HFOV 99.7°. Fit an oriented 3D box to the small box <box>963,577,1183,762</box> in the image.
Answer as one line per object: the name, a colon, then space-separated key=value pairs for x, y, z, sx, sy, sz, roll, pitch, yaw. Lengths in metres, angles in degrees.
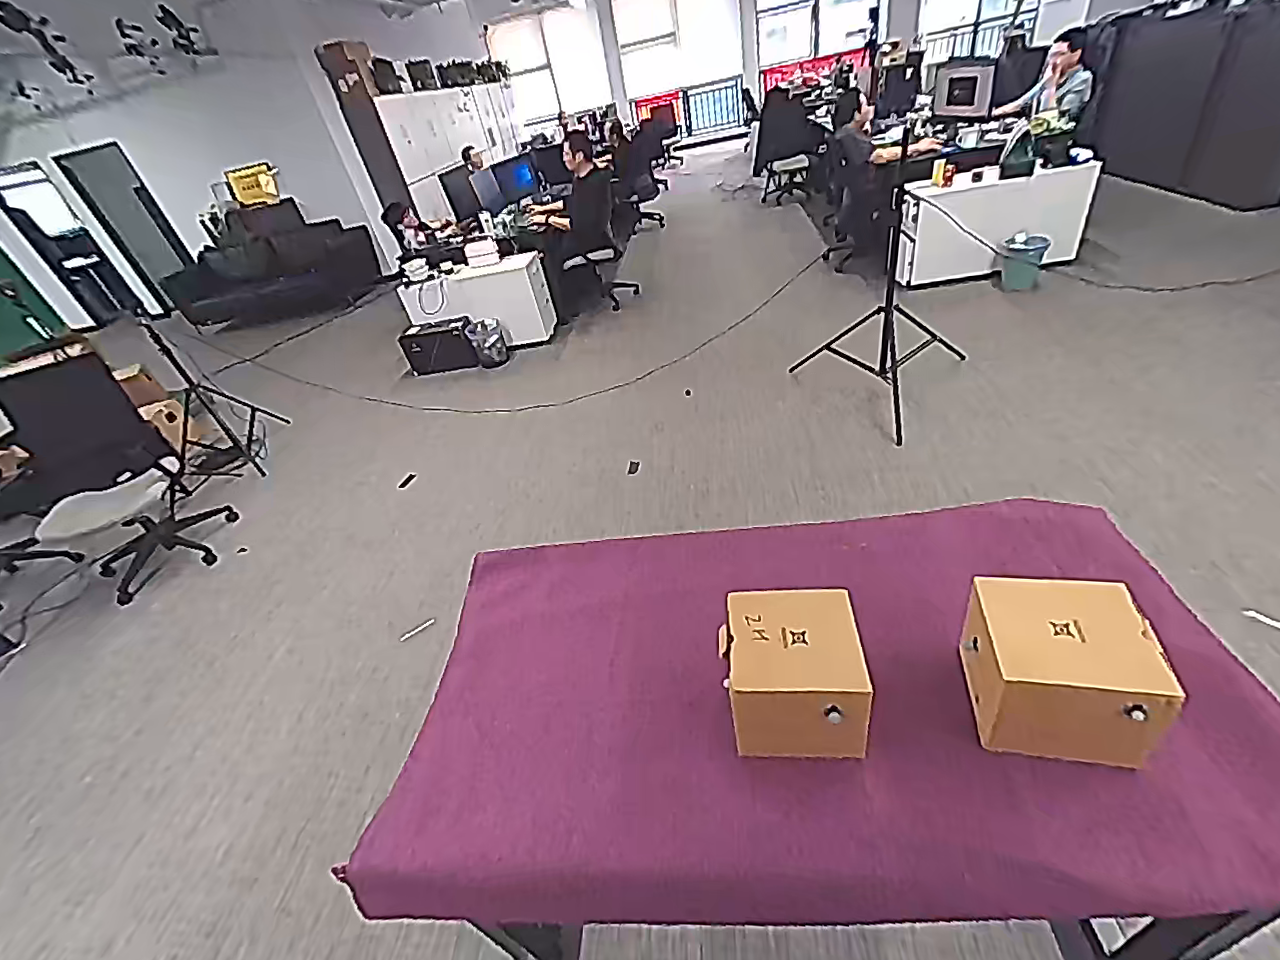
small box: x=0.547 y=0.249 z=0.721 sx=0.179 sy=0.176 sz=0.168 roll=-1 pitch=38 yaw=18

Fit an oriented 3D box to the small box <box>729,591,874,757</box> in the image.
small box: x=0.225 y=0.280 z=0.785 sx=0.179 sy=0.176 sz=0.168 roll=-5 pitch=36 yaw=12
